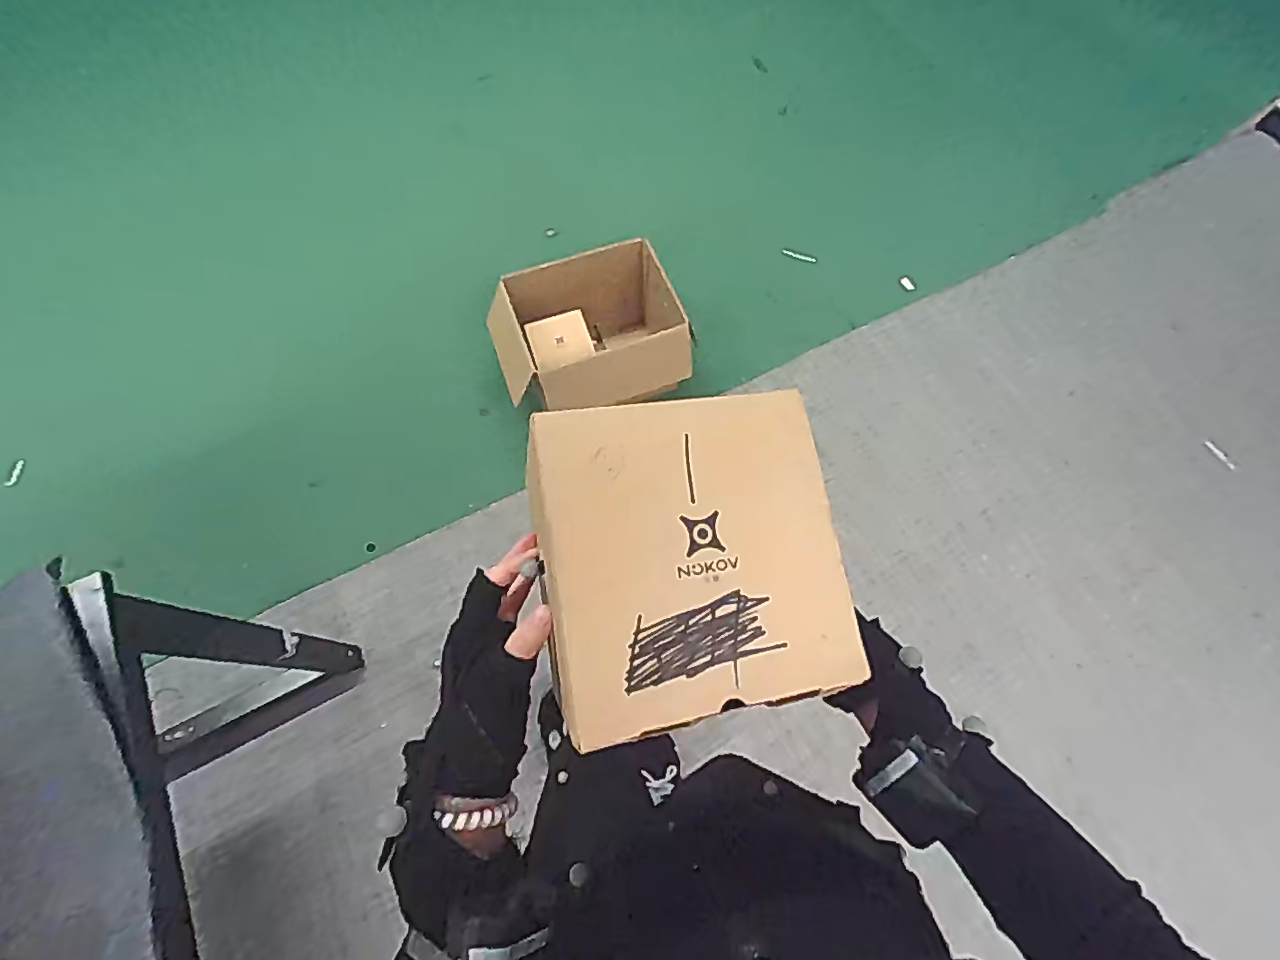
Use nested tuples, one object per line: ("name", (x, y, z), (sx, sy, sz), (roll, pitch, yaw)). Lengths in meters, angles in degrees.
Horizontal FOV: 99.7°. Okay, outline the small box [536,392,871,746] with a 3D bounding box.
("small box", (0.021, 0.054, 0.373), (0.168, 0.176, 0.179), (-6, 79, -15))
